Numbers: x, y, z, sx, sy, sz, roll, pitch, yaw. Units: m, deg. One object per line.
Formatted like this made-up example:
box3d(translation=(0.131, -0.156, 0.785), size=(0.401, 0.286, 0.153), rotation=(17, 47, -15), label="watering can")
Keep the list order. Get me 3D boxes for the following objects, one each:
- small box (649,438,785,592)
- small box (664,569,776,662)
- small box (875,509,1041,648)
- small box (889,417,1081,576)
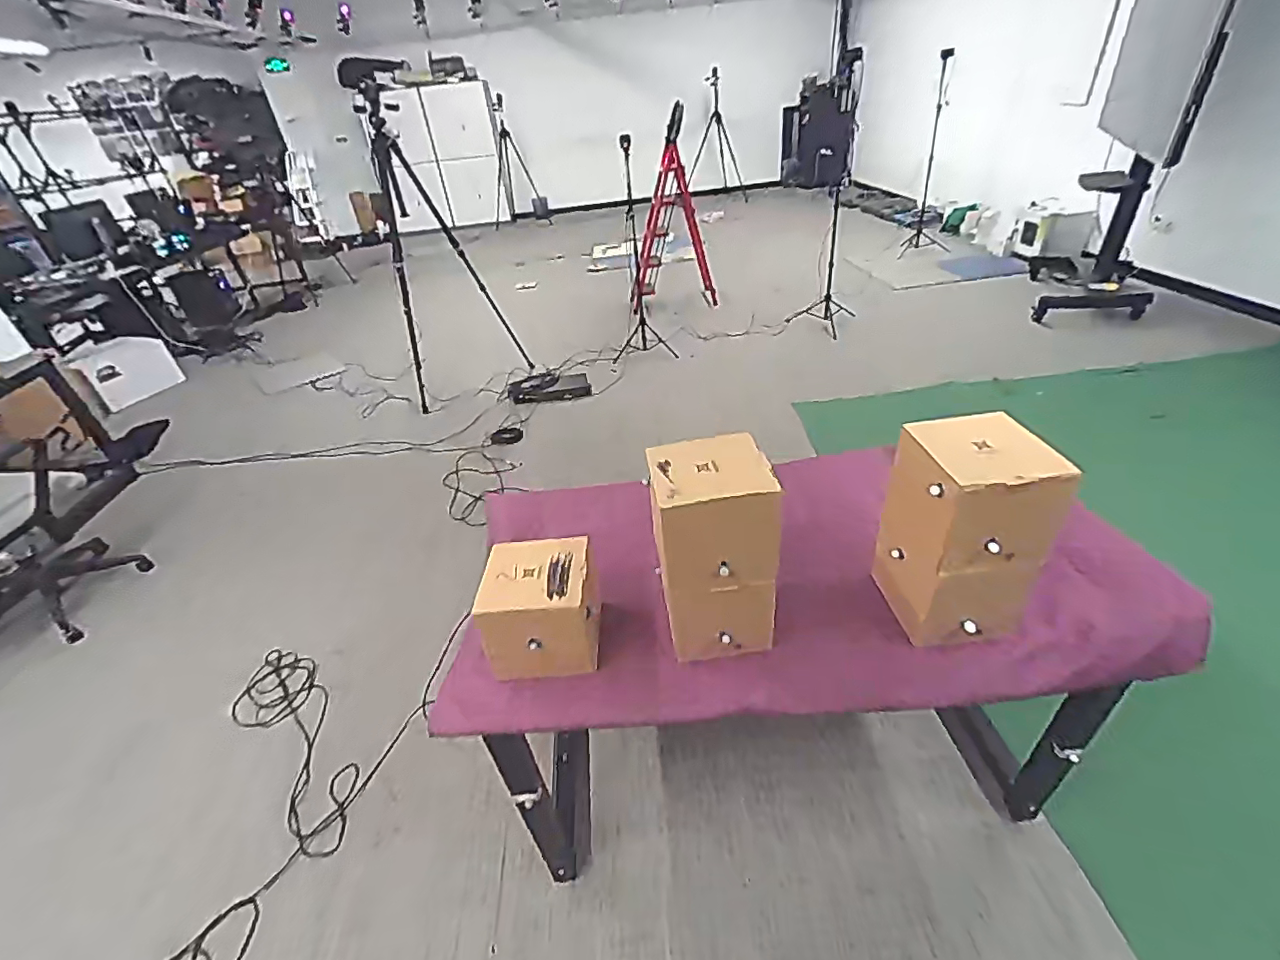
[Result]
box3d(translation=(0.112, 0.053, 0.848), size=(0.179, 0.176, 0.168), rotation=(-7, 33, -2), label="small box")
box3d(translation=(0.128, 0.186, 0.942), size=(0.168, 0.176, 0.179), rotation=(-8, 34, -1), label="small box")
box3d(translation=(0.522, 0.158, 0.922), size=(0.168, 0.176, 0.179), rotation=(-7, 36, 0), label="small box")
box3d(translation=(0.508, 0.023, 0.832), size=(0.168, 0.176, 0.179), rotation=(-7, 35, -1), label="small box")
